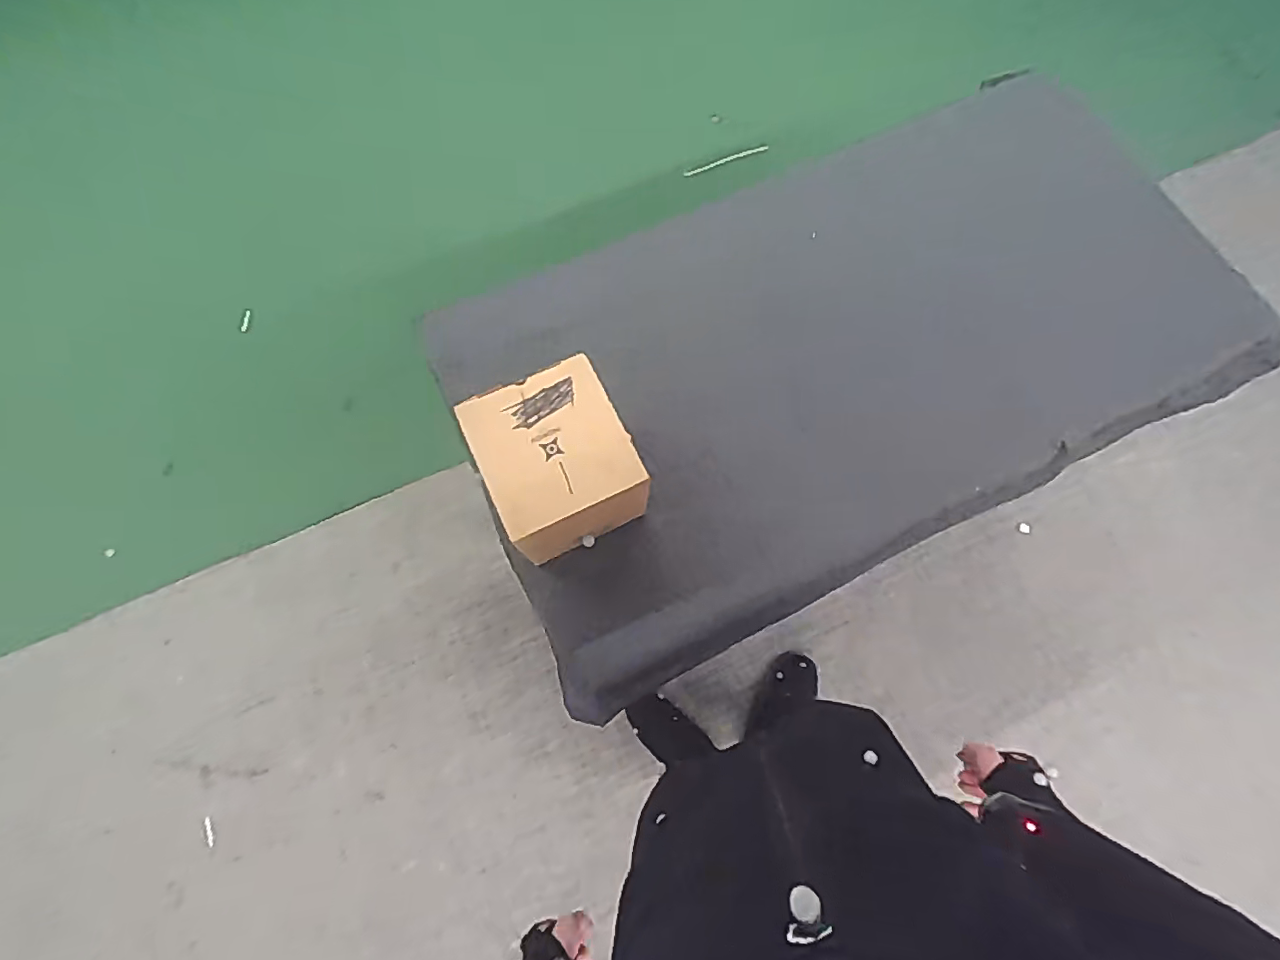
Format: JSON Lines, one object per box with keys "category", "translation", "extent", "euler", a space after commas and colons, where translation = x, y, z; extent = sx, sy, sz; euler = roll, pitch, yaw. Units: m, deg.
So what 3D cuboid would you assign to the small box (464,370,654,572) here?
{"category": "small box", "translation": [-0.096, -0.002, 0.684], "extent": [0.168, 0.176, 0.179], "euler": [-25, 75, -9]}
